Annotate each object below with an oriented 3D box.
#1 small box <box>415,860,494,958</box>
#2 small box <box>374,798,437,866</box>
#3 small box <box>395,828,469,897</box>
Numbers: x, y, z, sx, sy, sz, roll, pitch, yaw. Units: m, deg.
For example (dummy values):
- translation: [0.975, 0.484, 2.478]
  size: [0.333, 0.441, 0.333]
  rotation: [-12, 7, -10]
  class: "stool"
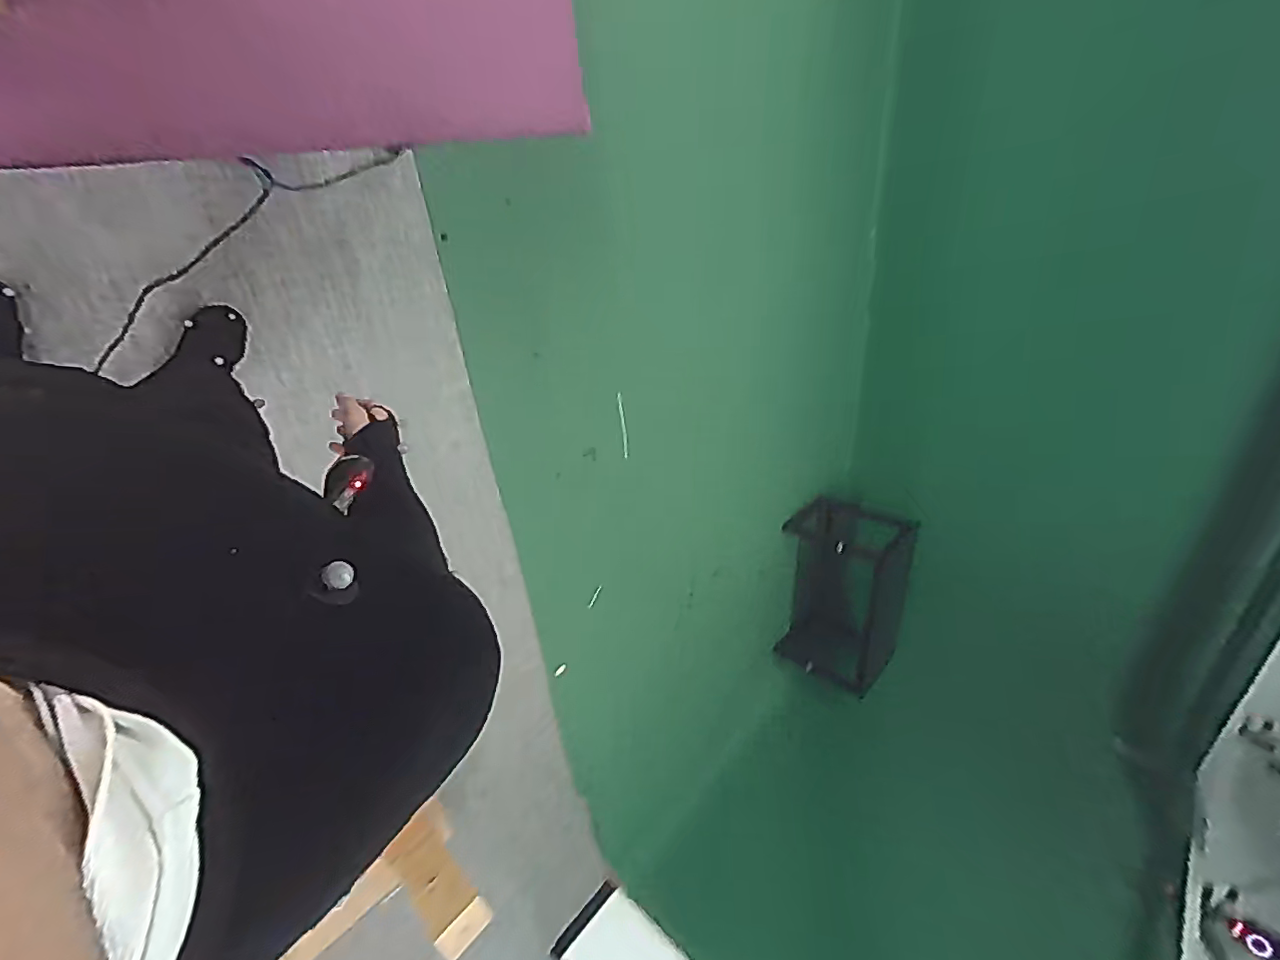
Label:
- translation: [-0.624, 1.428, 1.812]
  size: [0.168, 0.176, 0.179]
  rotation: [-34, 129, -36]
  class: "small box"
- translation: [-0.856, 1.337, 2.022]
  size: [0.168, 0.176, 0.179]
  rotation: [-37, 130, -33]
  class: "small box"
- translation: [-0.738, 1.381, 1.917]
  size: [0.168, 0.176, 0.179]
  rotation: [-34, 130, -35]
  class: "small box"
